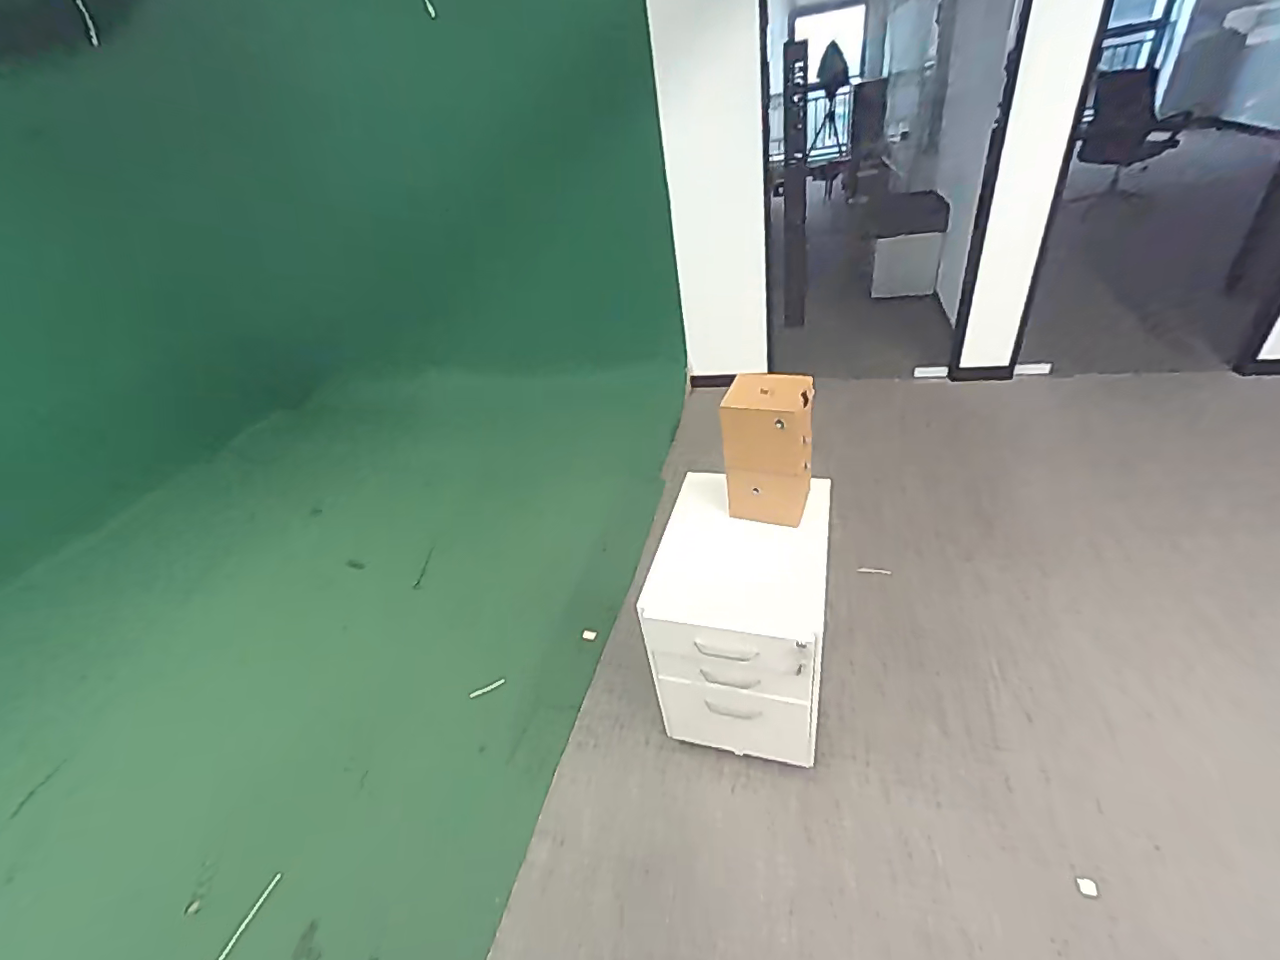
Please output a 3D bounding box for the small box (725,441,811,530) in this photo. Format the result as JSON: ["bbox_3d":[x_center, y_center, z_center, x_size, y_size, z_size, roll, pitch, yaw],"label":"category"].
[{"bbox_3d":[0.326,0.006,1.362,0.179,0.176,0.168,8,40,25],"label":"small box"}]

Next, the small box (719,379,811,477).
[{"bbox_3d":[0.295,-0.122,1.267,0.179,0.176,0.168,8,40,24],"label":"small box"}]
